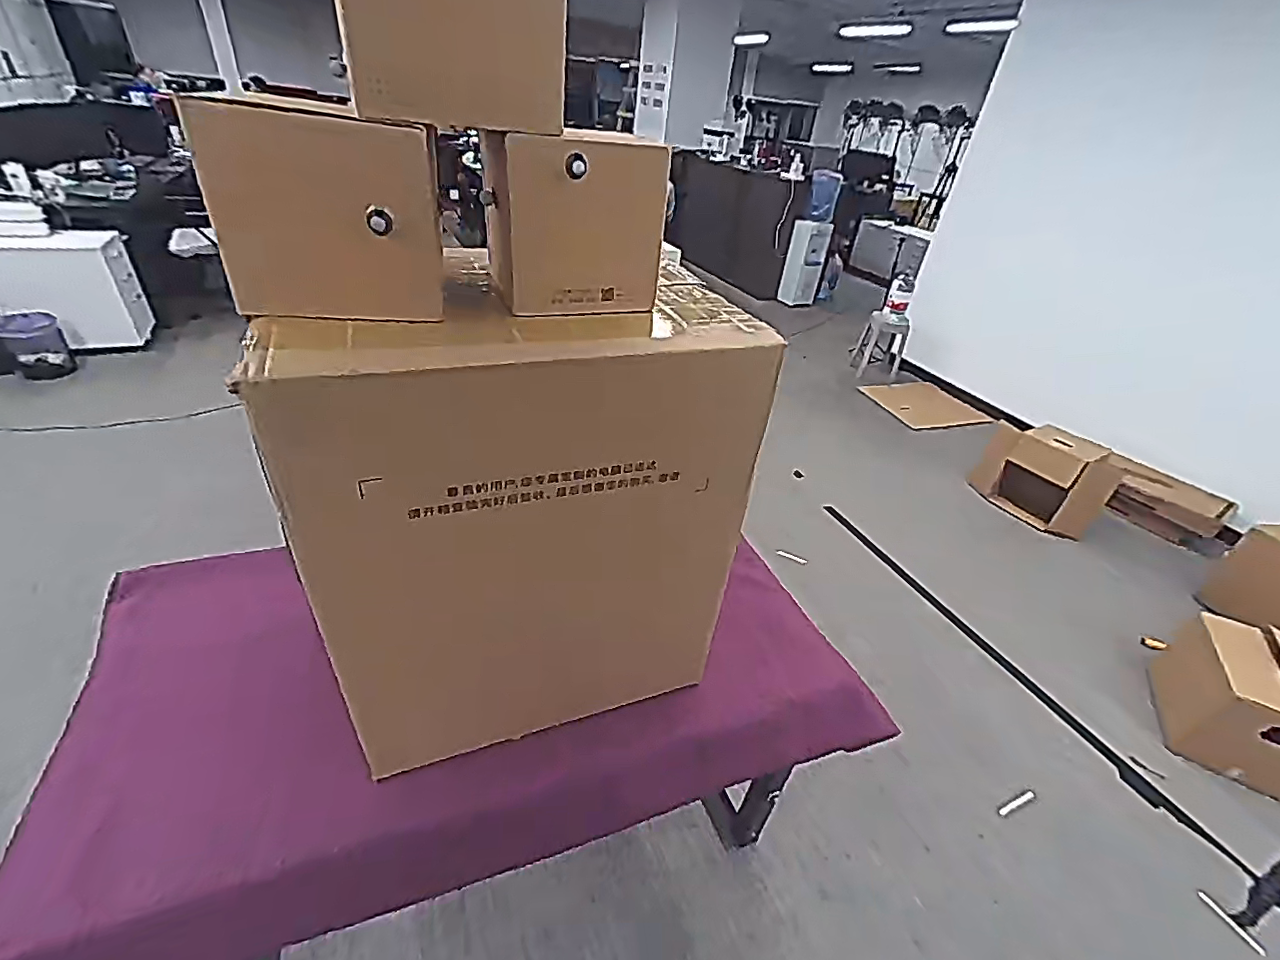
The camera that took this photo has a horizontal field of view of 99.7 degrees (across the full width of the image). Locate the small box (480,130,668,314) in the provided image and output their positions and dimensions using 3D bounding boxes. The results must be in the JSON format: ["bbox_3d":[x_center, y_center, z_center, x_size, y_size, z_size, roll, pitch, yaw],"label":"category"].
[{"bbox_3d":[-0.084,-0.298,0.620,0.168,0.176,0.179,-9,37,-21],"label":"small box"}]

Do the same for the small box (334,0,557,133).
[{"bbox_3d":[-0.177,-0.418,0.486,0.179,0.176,0.168,-9,38,-24],"label":"small box"}]
